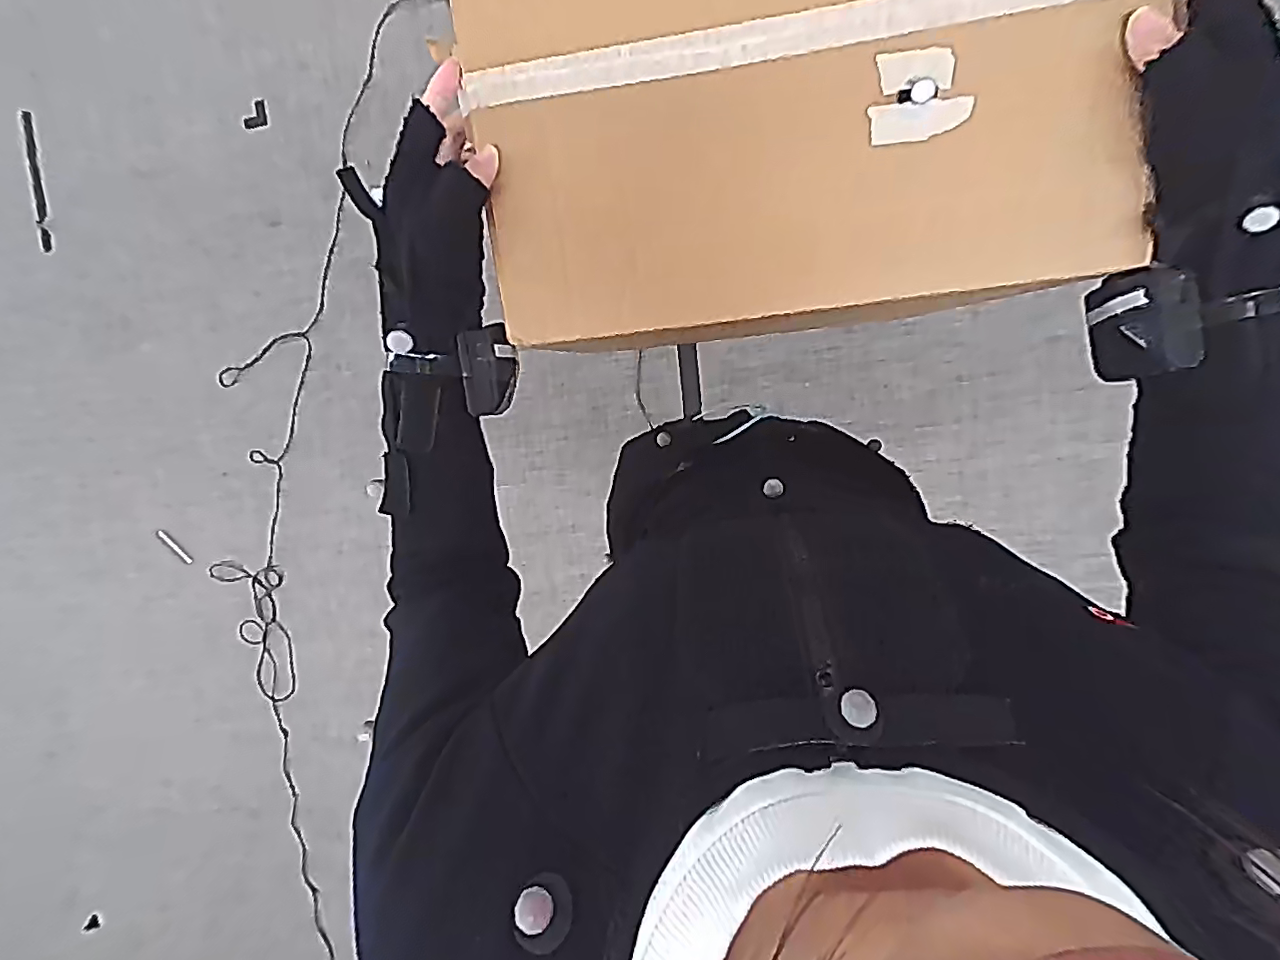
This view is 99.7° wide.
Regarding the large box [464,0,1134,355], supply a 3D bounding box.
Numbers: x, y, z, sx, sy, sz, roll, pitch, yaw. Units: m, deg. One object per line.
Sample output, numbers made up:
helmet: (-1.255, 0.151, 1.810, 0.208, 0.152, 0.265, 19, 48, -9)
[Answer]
large box: (0.100, -0.297, 0.480, 0.408, 0.320, 0.320, -6, 102, 5)
